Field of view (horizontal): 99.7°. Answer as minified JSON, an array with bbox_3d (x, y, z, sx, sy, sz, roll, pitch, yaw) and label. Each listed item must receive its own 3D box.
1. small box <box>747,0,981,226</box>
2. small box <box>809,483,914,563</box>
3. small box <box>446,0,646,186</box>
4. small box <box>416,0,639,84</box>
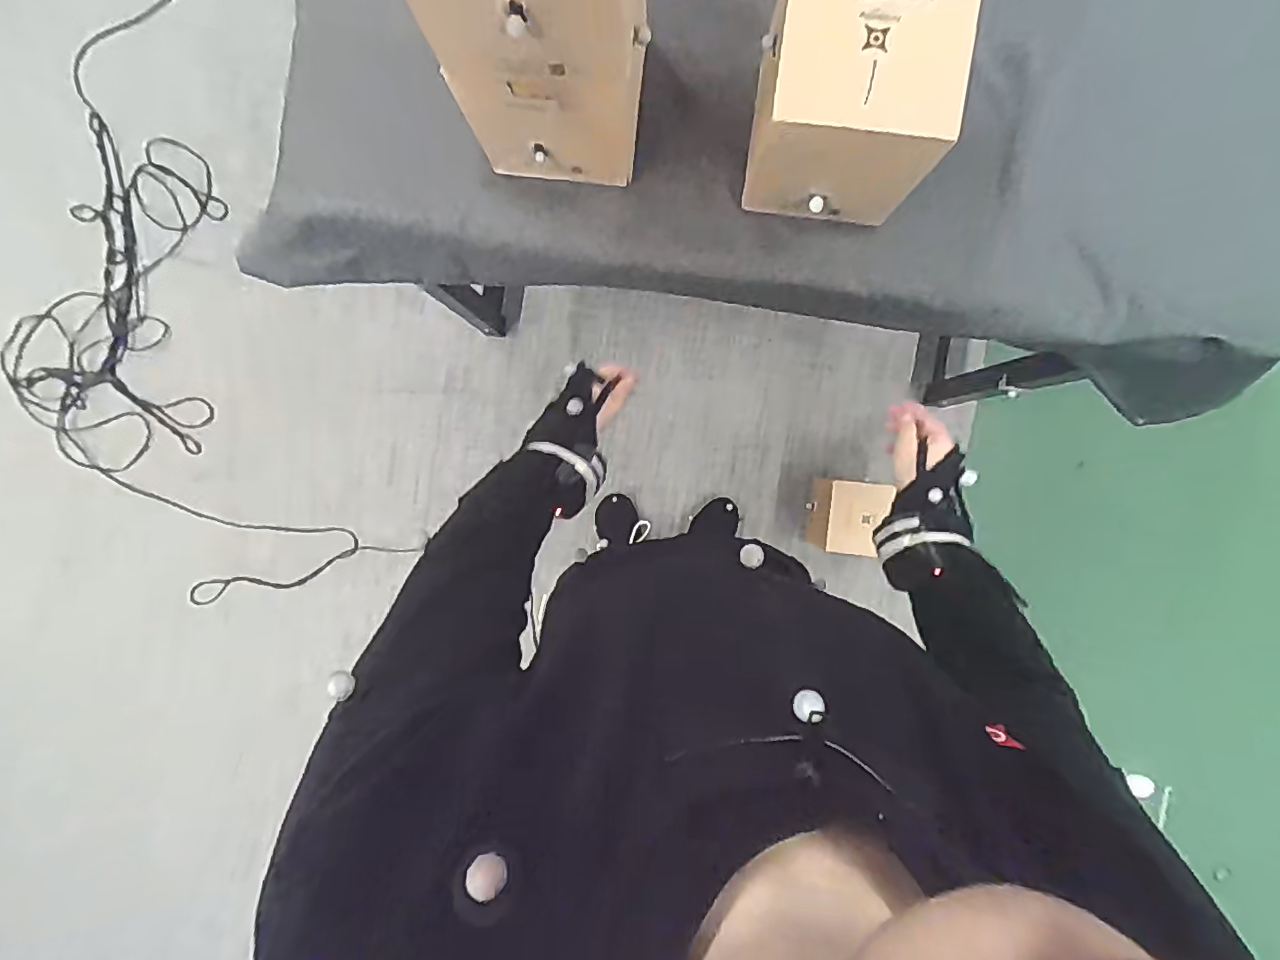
[{"bbox_3d":[0.211,-0.391,0.551,0.168,0.176,0.179,8,91,2],"label":"small box"},{"bbox_3d":[0.518,0.095,1.281,0.179,0.176,0.168,5,90,2],"label":"small box"},{"bbox_3d":[-0.083,-0.443,0.562,0.168,0.176,0.179,6,92,1],"label":"small box"},{"bbox_3d":[-0.083,-0.436,0.399,0.168,0.176,0.179,5,92,1],"label":"small box"}]
